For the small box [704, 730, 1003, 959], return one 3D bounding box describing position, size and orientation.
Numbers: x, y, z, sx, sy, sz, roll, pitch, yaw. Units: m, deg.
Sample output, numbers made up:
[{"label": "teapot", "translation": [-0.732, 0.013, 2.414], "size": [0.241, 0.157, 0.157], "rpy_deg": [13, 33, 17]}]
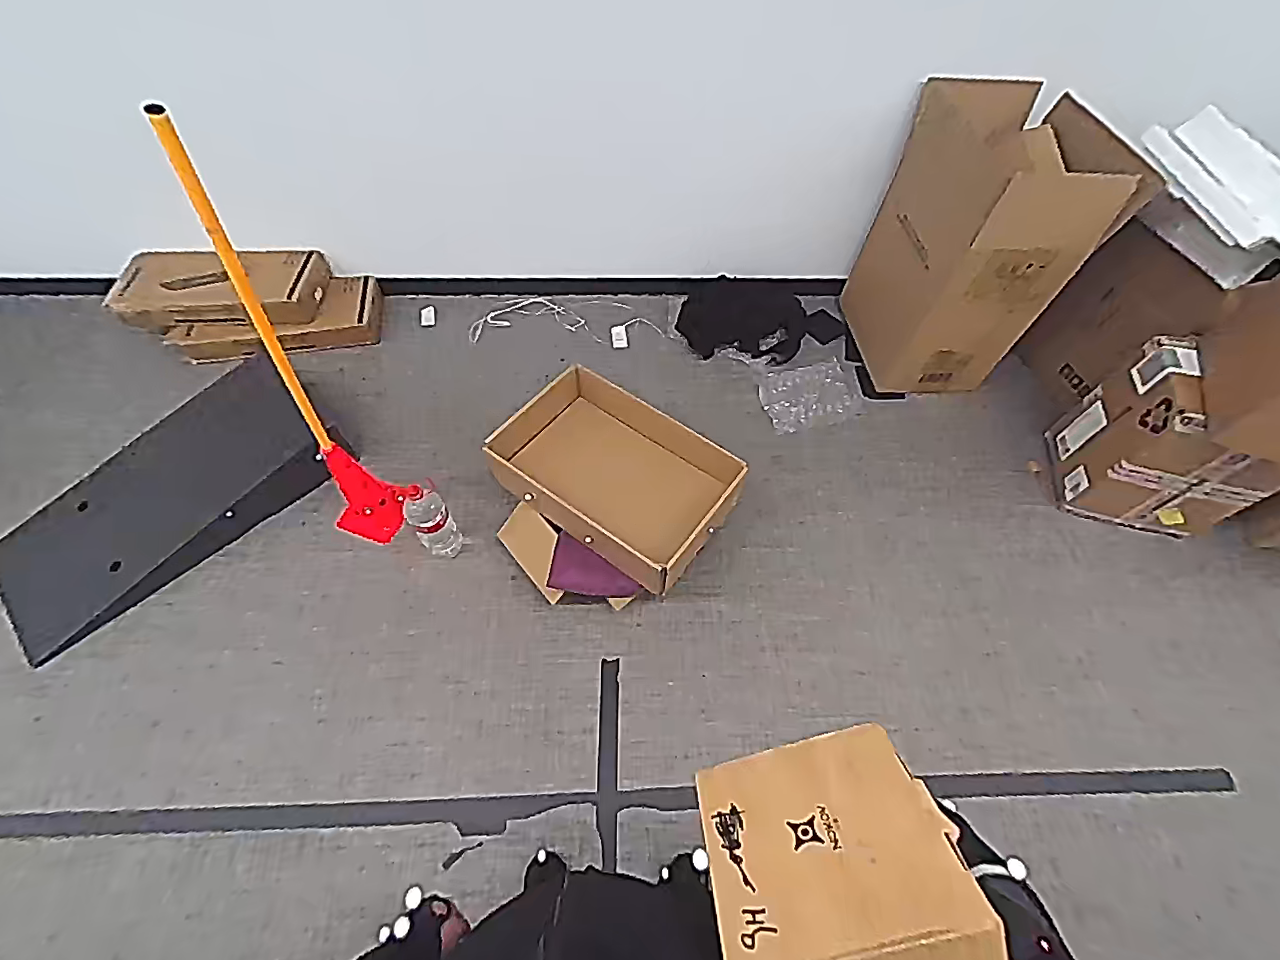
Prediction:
[{"label": "small box", "translation": [0.166, 0.350, 0.447], "size": [0.179, 0.176, 0.168], "rpy_deg": [-17, 17, 4]}]
